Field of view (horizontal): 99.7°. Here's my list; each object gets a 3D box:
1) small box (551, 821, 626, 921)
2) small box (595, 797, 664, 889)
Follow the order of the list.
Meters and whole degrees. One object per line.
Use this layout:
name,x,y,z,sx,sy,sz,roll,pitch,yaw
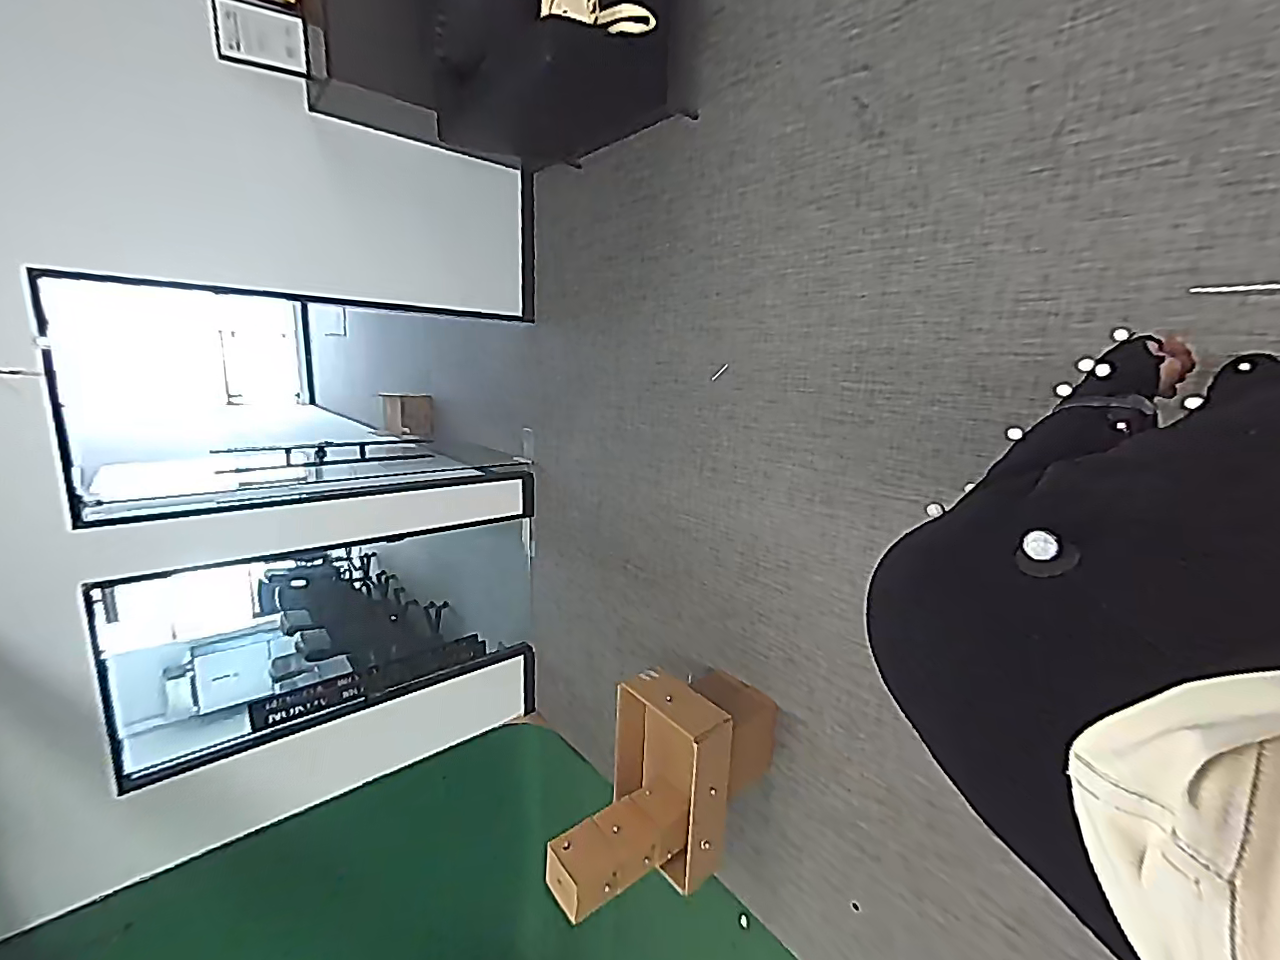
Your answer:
small box,-0.169,1.245,1.745,0.179,0.176,0.168,22,114,47
small box,-0.041,1.226,1.847,0.179,0.176,0.168,20,112,48
